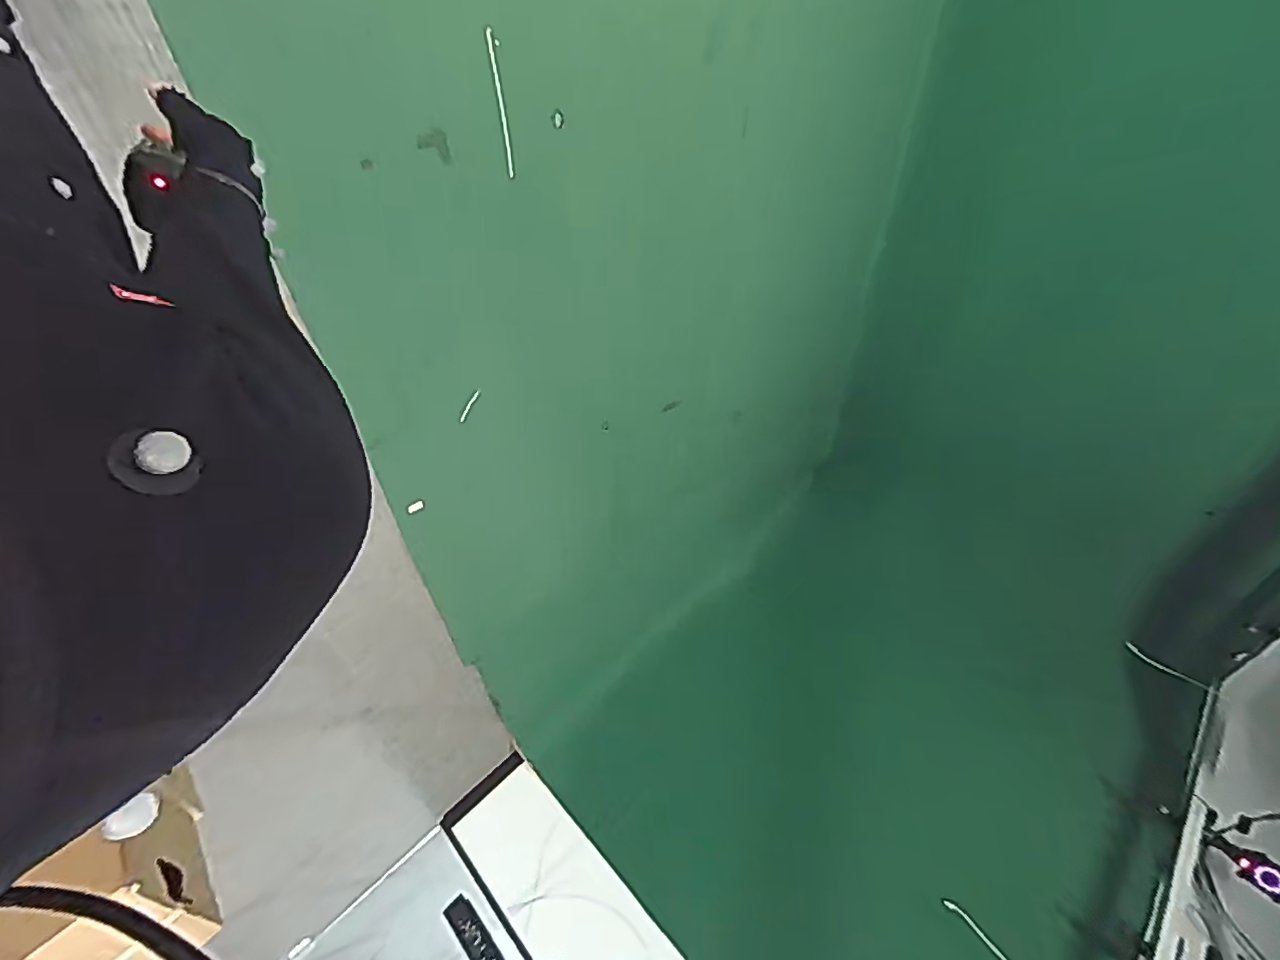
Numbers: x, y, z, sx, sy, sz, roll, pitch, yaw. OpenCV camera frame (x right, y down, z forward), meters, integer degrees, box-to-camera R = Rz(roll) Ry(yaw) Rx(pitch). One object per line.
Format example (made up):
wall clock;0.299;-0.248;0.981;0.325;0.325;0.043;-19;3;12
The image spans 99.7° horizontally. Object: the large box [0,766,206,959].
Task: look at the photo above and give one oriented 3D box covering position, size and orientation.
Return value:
large box;-1.161;0.855;1.018;0.408;0.320;0.320;-35;138;-31
